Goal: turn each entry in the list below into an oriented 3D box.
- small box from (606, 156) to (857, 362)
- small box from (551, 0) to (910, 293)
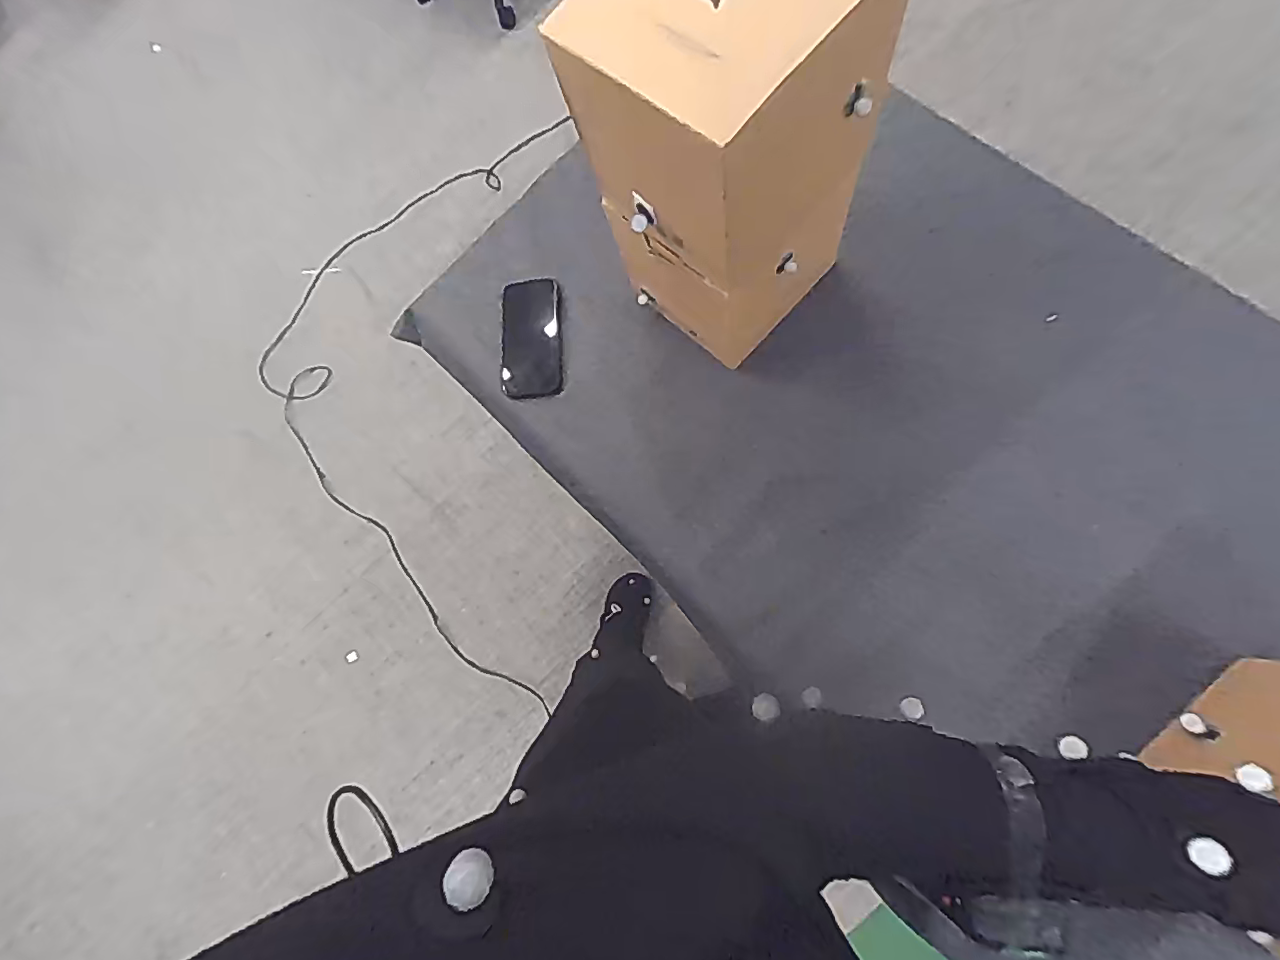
[{"bbox_3d":[0.095,-0.258,0.574,0.168,0.176,0.179,43,88,15],"label":"small box"},{"bbox_3d":[0.068,-0.287,0.418,0.168,0.176,0.179,42,90,16],"label":"small box"}]
